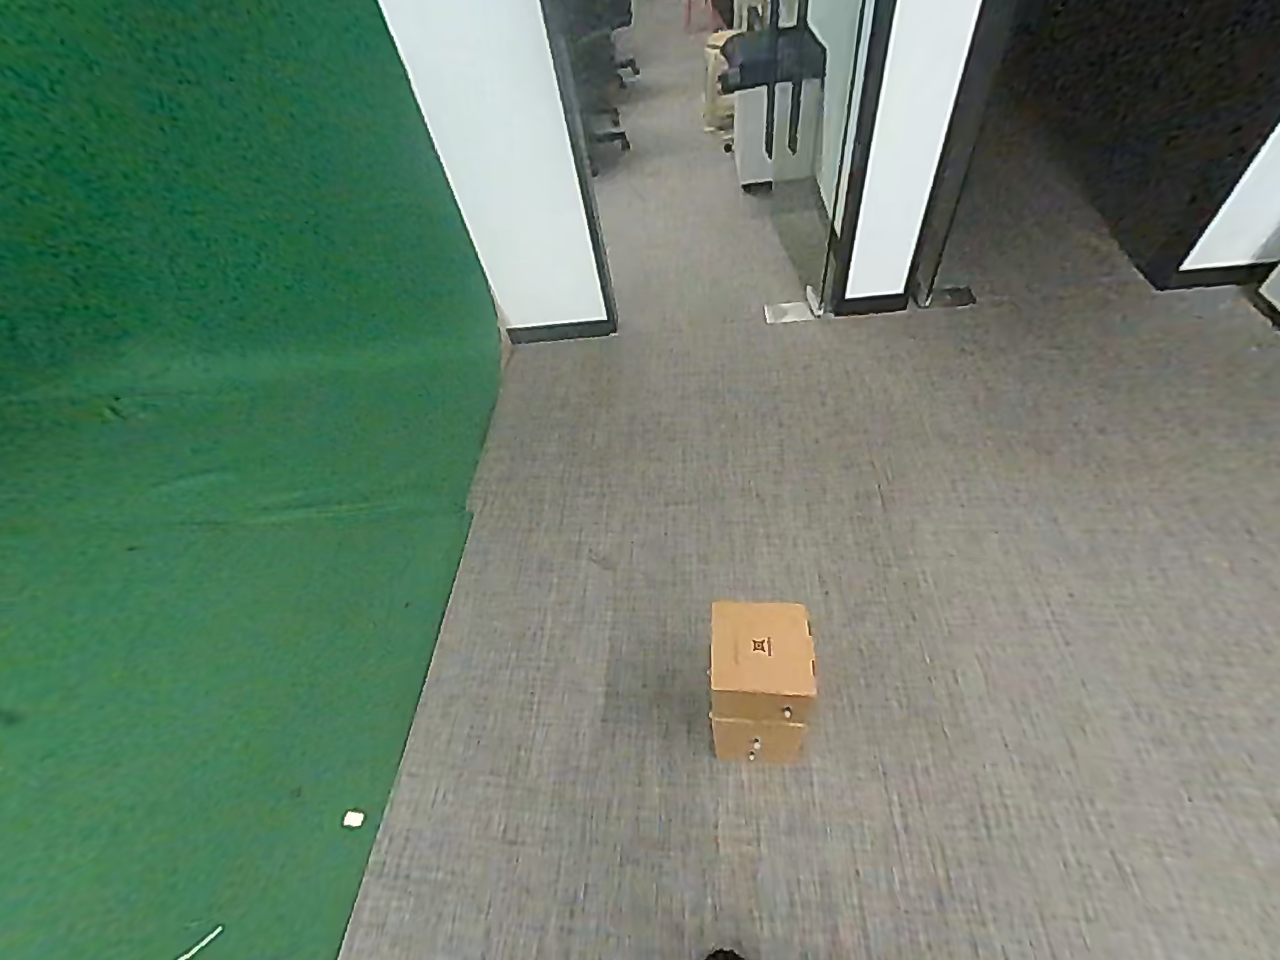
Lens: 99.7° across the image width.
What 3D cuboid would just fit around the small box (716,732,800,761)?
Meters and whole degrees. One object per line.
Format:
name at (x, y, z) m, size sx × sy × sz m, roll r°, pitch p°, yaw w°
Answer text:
small box at (0.265, 0.550, 1.265) m, size 0.179 × 0.176 × 0.168 m, roll -3°, pitch 51°, yaw 7°

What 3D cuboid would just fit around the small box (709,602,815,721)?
small box at (0.222, 0.343, 1.017) m, size 0.179 × 0.176 × 0.168 m, roll -2°, pitch 50°, yaw 10°

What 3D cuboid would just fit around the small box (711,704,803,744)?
small box at (0.241, 0.448, 1.141) m, size 0.179 × 0.176 × 0.168 m, roll 0°, pitch 52°, yaw 10°
